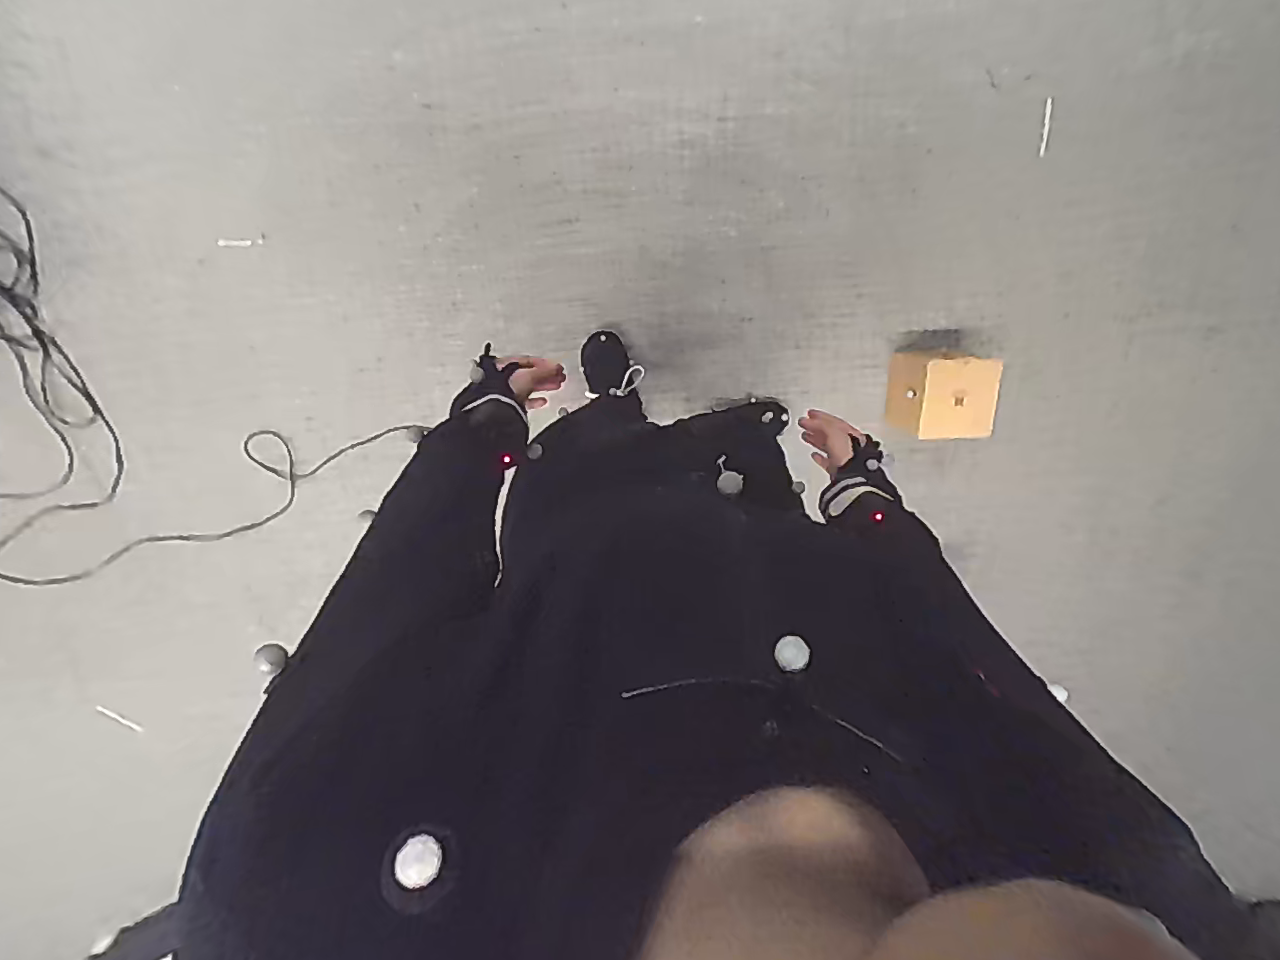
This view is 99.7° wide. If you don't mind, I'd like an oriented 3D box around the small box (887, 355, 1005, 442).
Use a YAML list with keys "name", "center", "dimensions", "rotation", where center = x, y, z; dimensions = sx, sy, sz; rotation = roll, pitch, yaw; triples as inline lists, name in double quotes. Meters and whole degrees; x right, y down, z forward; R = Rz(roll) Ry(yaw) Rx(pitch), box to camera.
- name: "small box"
  center: [0.692, -0.192, 1.245]
  dimensions: [0.168, 0.176, 0.179]
  rotation: [-2, 107, -1]
